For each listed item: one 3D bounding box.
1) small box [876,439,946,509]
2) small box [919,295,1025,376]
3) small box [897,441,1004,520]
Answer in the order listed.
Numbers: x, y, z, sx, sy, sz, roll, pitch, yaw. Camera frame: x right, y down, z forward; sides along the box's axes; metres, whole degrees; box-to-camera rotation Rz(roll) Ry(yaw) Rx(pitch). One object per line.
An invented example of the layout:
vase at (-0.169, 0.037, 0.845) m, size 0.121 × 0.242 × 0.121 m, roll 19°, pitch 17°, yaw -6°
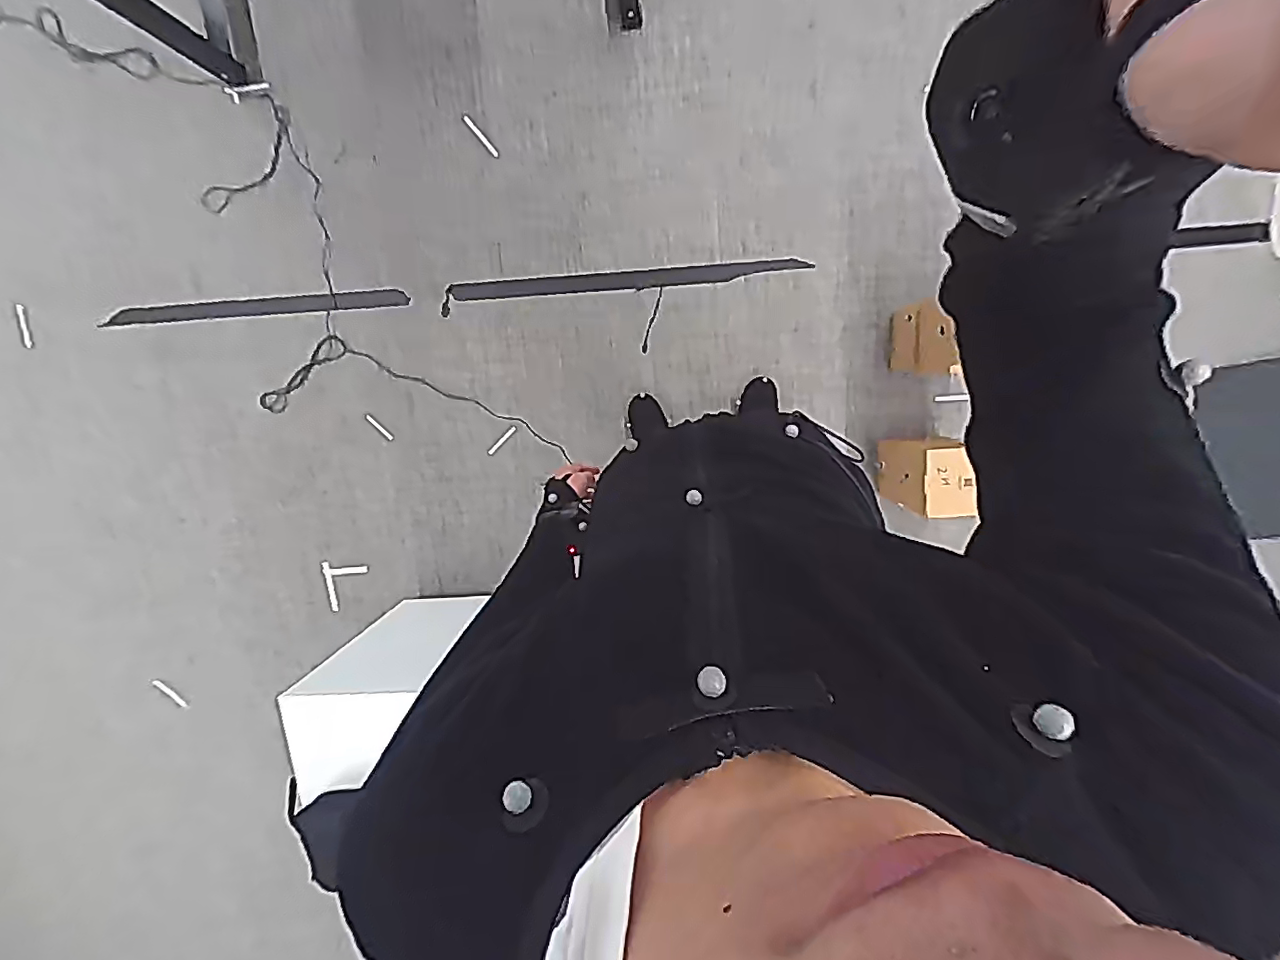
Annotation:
small box at (0.772, -0.021, 1.498) m, size 0.179 × 0.176 × 0.168 m, roll -5°, pitch 99°, yaw 7°
small box at (0.773, -0.337, 1.267) m, size 0.168 × 0.176 × 0.179 m, roll -3°, pitch 102°, yaw 5°
small box at (0.759, -0.003, 1.334) m, size 0.179 × 0.176 × 0.168 m, roll -3°, pitch 99°, yaw 6°
